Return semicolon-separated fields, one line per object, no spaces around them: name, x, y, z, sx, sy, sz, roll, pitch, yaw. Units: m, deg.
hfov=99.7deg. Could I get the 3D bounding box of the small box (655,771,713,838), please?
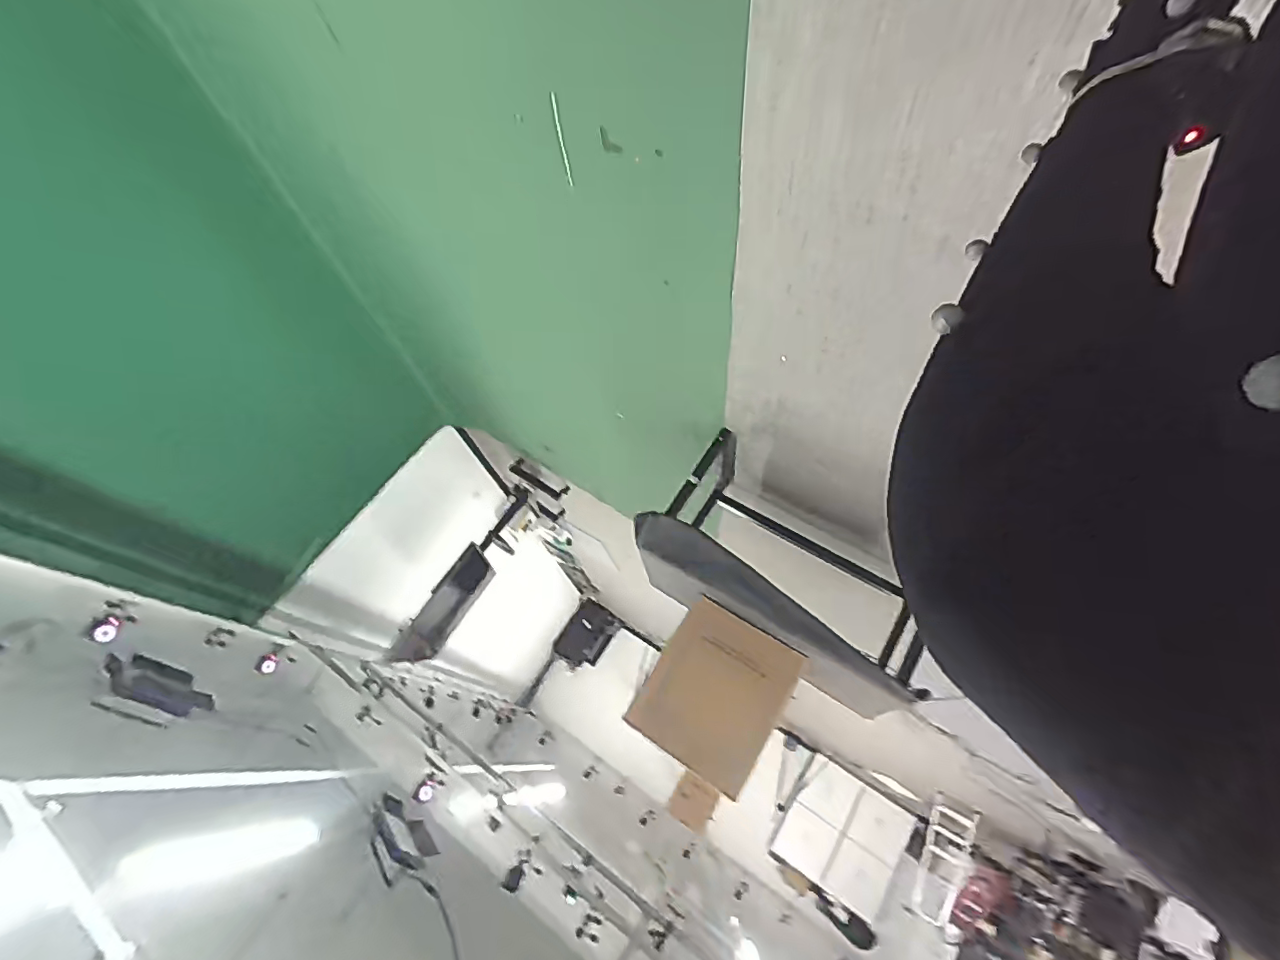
small box;0.177;1.269;2.123;0.168;0.176;0.179;28;158;22
